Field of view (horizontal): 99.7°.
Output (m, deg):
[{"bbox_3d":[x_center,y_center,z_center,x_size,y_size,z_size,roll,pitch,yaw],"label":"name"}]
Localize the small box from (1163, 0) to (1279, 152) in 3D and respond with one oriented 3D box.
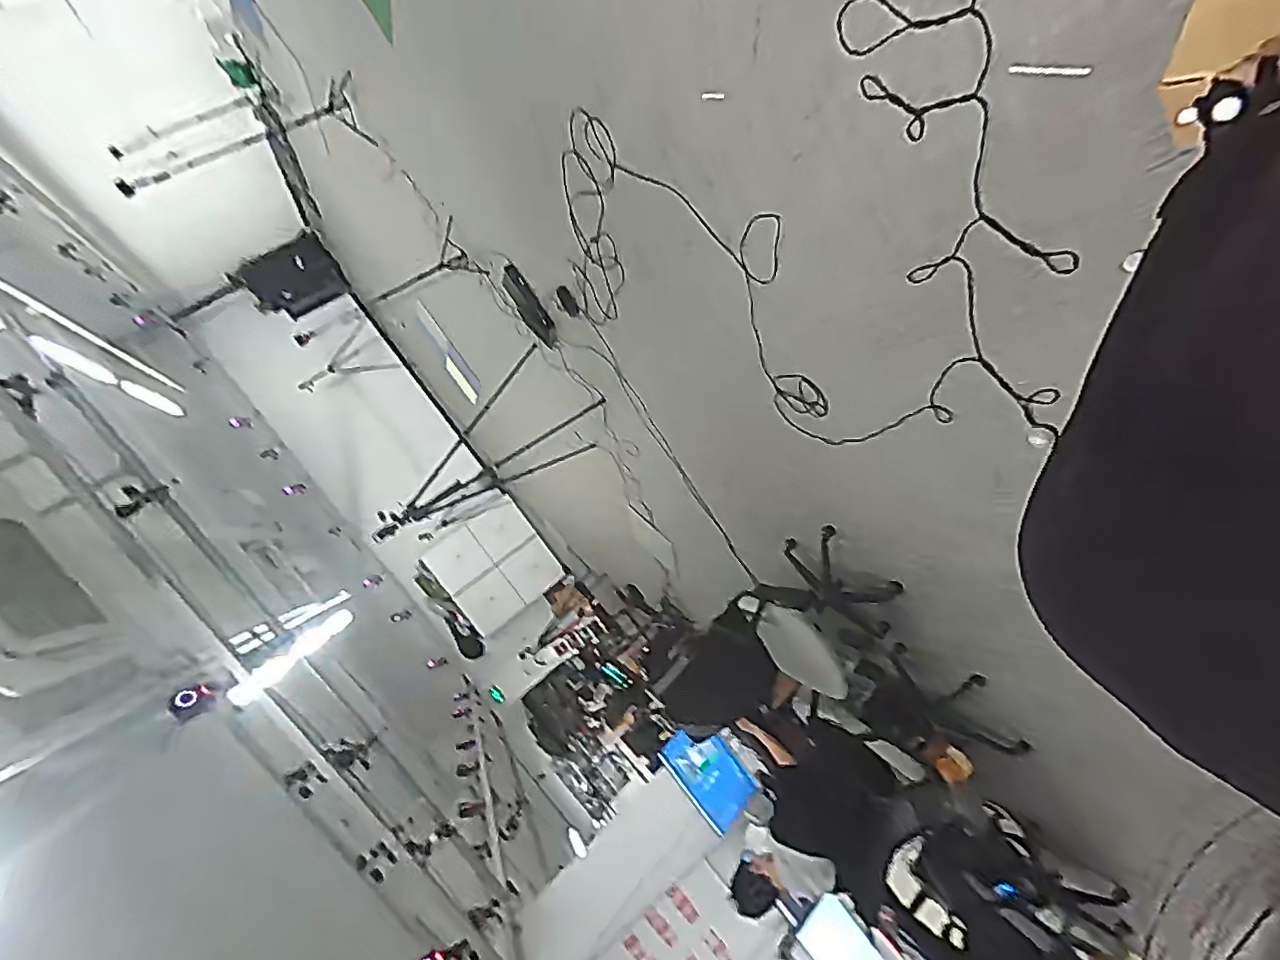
[{"bbox_3d":[0.610,-0.422,0.478,0.168,0.179,0.176,25,112,45],"label":"small box"}]
